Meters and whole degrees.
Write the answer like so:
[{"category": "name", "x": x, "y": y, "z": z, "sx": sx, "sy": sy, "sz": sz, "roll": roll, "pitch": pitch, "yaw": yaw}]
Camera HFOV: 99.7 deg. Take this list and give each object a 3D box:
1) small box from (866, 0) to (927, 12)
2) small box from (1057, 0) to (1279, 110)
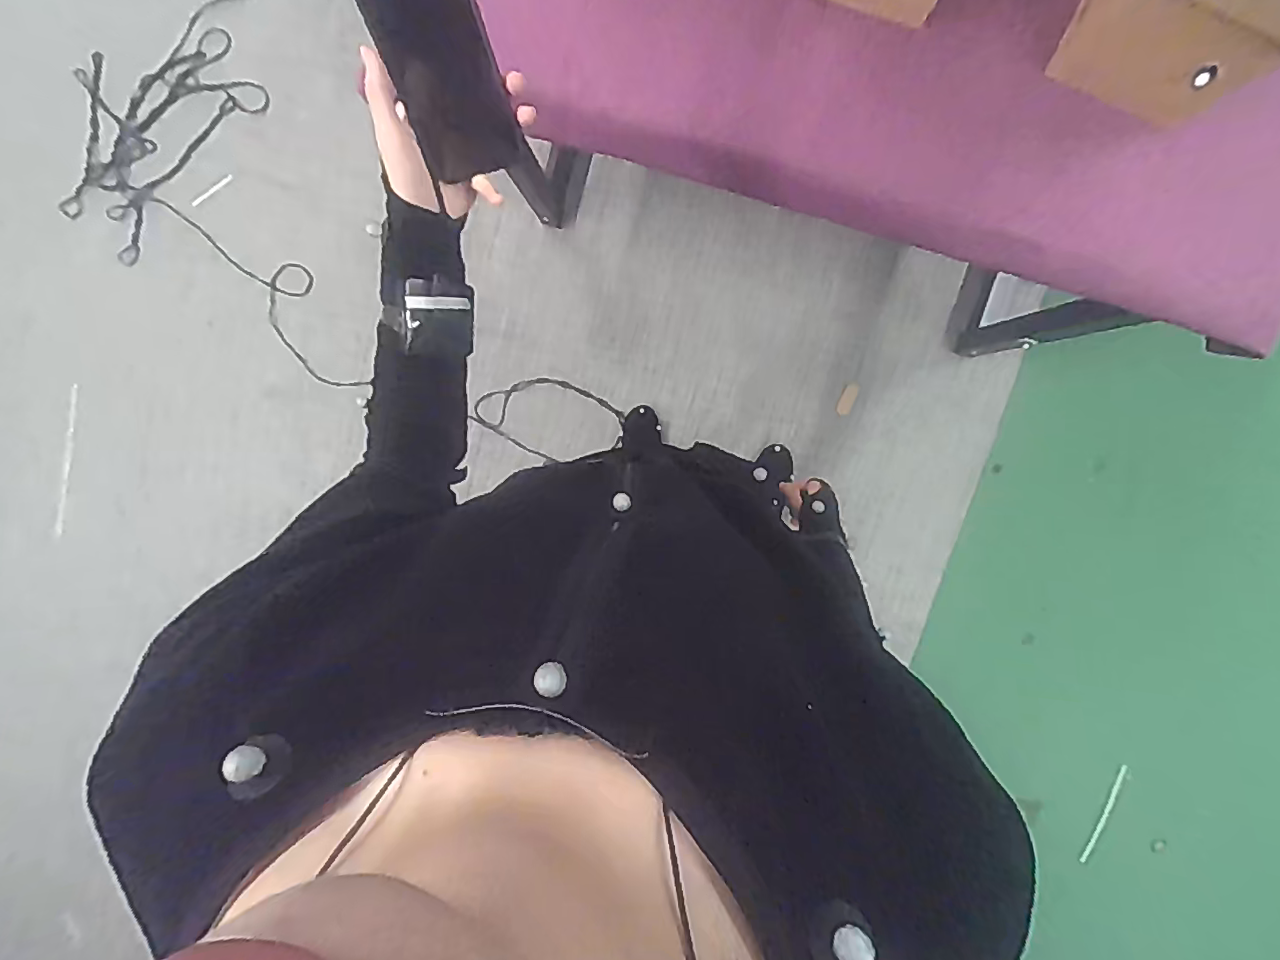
[{"category": "small box", "x": 0.292, "y": -0.658, "z": 0.576, "sx": 0.179, "sy": 0.176, "sz": 0.168, "roll": 19, "pitch": 97, "yaw": 2}, {"category": "small box", "x": 0.609, "y": -0.536, "z": 0.569, "sx": 0.179, "sy": 0.176, "sz": 0.168, "roll": 25, "pitch": 97, "yaw": 1}]
